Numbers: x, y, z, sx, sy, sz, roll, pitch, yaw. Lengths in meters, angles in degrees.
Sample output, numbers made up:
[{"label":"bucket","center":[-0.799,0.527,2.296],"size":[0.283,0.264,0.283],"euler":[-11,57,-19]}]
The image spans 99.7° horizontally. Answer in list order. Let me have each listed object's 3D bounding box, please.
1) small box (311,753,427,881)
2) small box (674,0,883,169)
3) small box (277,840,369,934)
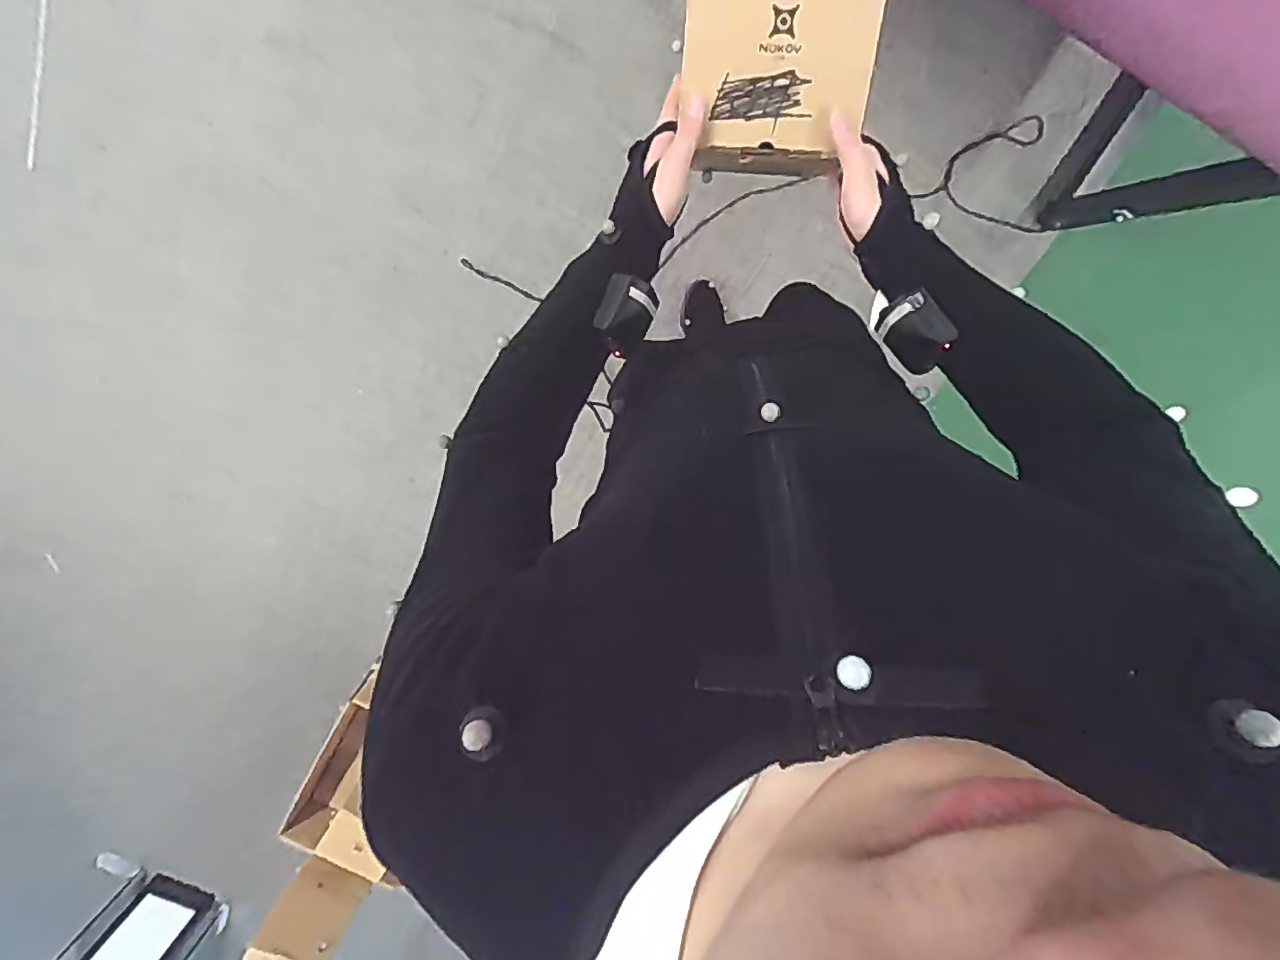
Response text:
[{"label":"small box","center":[-0.643,0.805,1.306],"size":[0.168,0.176,0.179],"euler":[32,109,-6]},{"label":"small box","center":[0.127,-0.418,0.533],"size":[0.168,0.176,0.179],"euler":[6,113,3]},{"label":"small box","center":[-0.778,0.997,1.389],"size":[0.168,0.176,0.179],"euler":[31,107,-6]}]
